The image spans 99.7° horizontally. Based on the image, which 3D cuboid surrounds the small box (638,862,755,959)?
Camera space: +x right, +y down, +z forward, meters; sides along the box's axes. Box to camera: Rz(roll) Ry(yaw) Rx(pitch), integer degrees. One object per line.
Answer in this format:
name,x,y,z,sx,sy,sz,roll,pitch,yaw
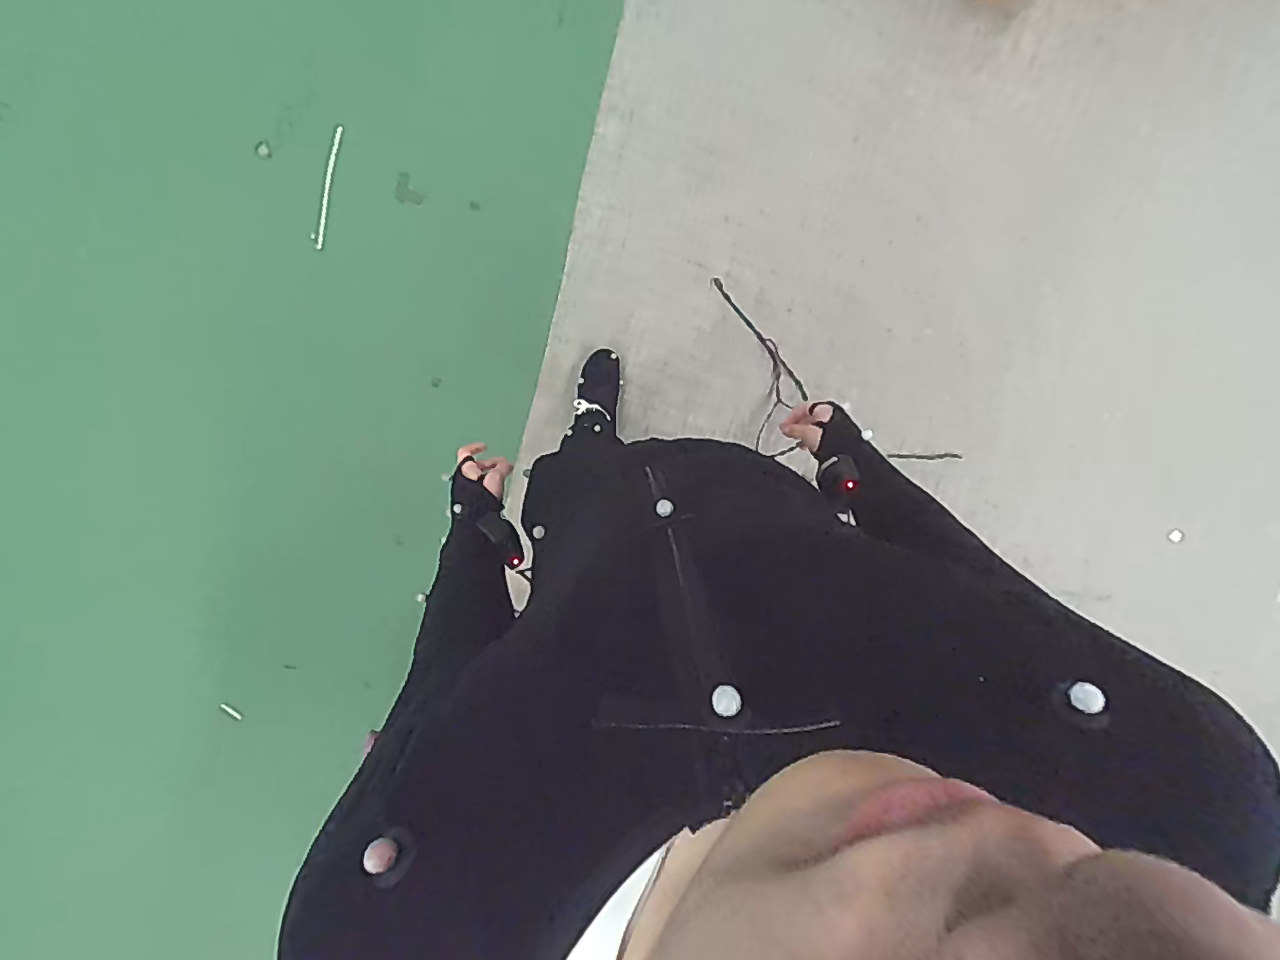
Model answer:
small box,0.092,0.826,0.950,0.168,0.176,0.179,12,100,-4
